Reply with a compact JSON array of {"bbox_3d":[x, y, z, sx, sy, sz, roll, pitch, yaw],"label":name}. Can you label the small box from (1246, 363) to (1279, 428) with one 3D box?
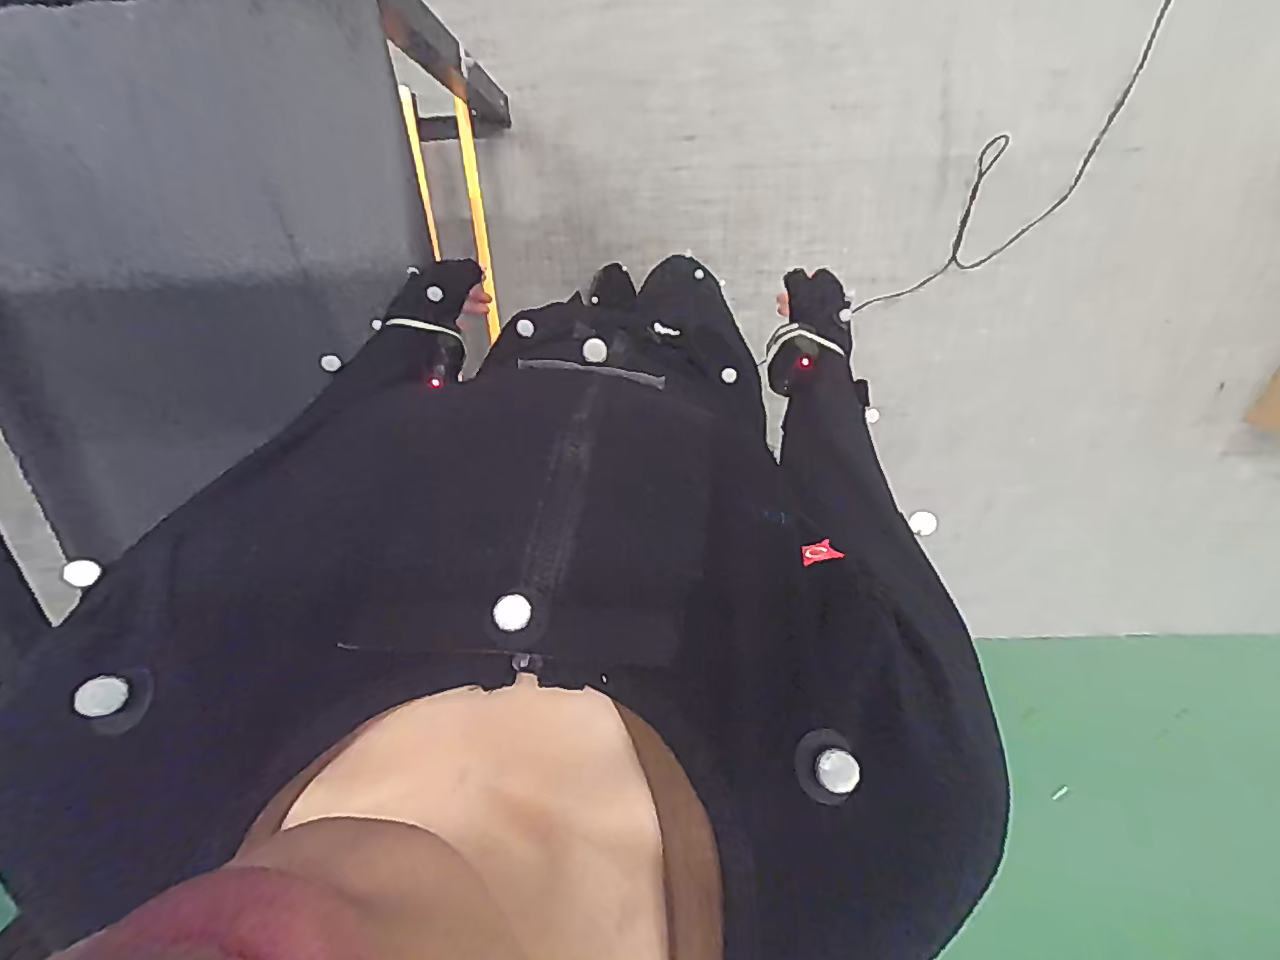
[{"bbox_3d":[1.676,-0.197,1.322,0.168,0.176,0.179,12,113,-3],"label":"small box"}]
